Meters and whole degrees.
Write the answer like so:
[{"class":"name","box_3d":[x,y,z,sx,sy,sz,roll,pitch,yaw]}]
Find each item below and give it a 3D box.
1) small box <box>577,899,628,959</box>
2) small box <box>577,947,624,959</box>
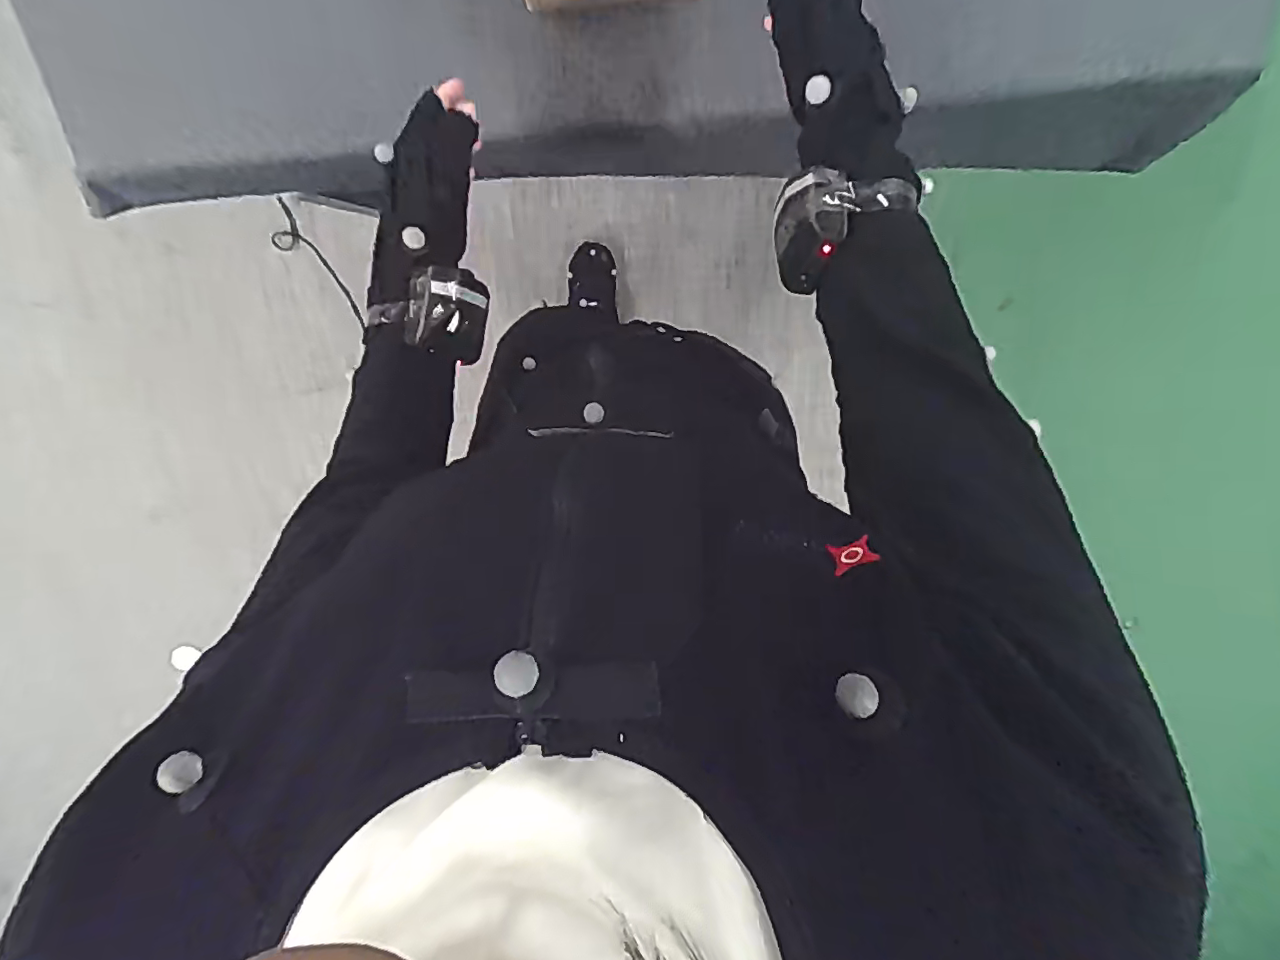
[{"class":"small box","box_3d":[-0.137,1.717,2.034,0.179,0.176,0.168,-1,111,0]},{"class":"small box","box_3d":[-0.136,1.777,1.882,0.168,0.176,0.179,-3,110,-1]}]
